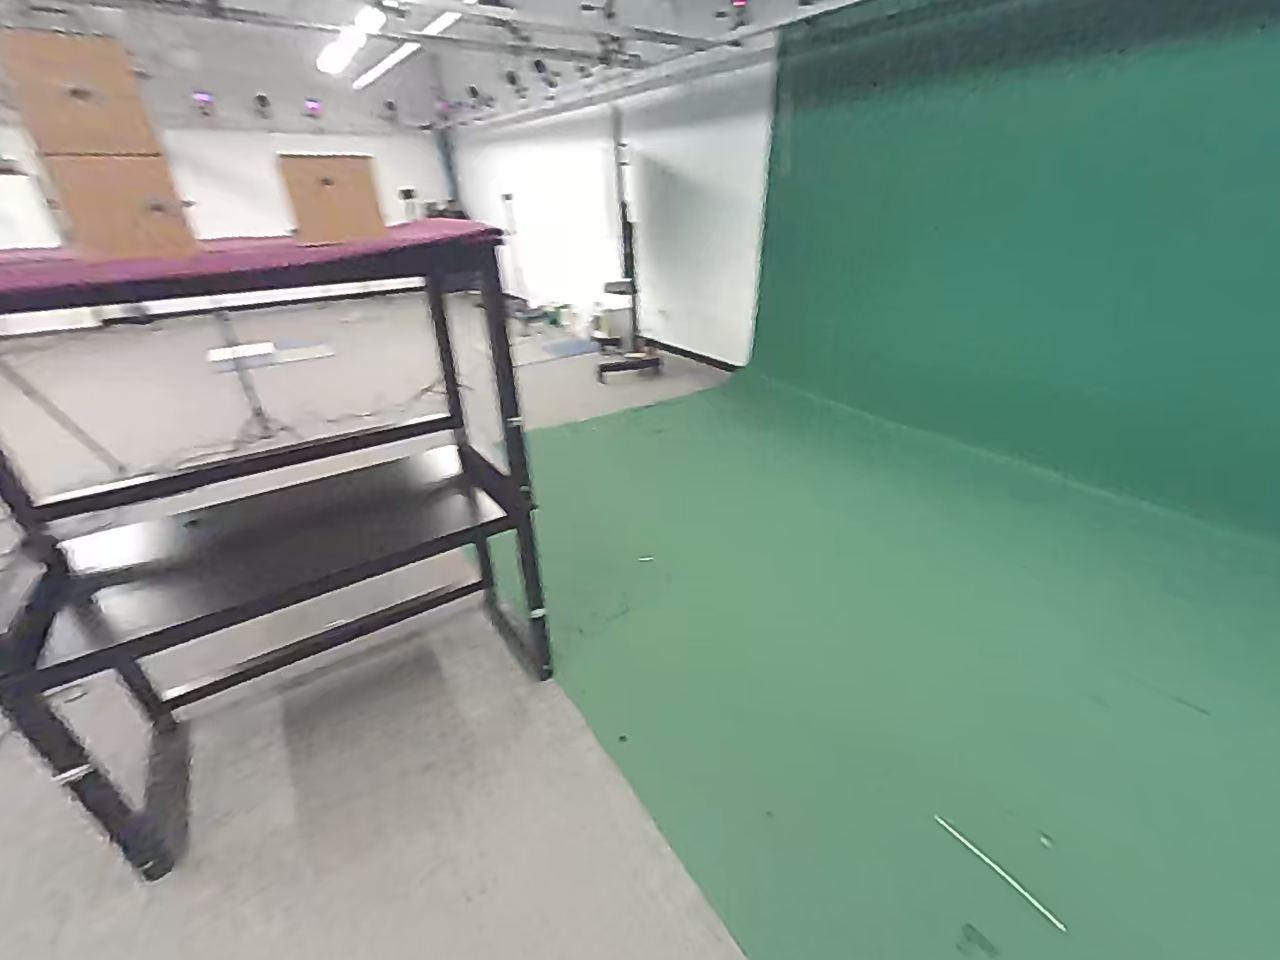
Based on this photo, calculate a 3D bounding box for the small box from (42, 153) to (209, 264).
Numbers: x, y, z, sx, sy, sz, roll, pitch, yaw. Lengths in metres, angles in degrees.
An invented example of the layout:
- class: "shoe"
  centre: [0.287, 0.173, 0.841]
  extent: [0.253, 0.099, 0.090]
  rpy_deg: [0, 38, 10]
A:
- class: "small box"
  centre: [-0.938, -0.506, 1.009]
  extent: [0.179, 0.176, 0.168]
  rpy_deg: [-20, 33, -30]

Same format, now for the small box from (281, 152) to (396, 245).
- class: "small box"
  centre: [-0.665, -0.617, 1.196]
  extent: [0.179, 0.176, 0.168]
  rpy_deg: [-18, 31, -28]
